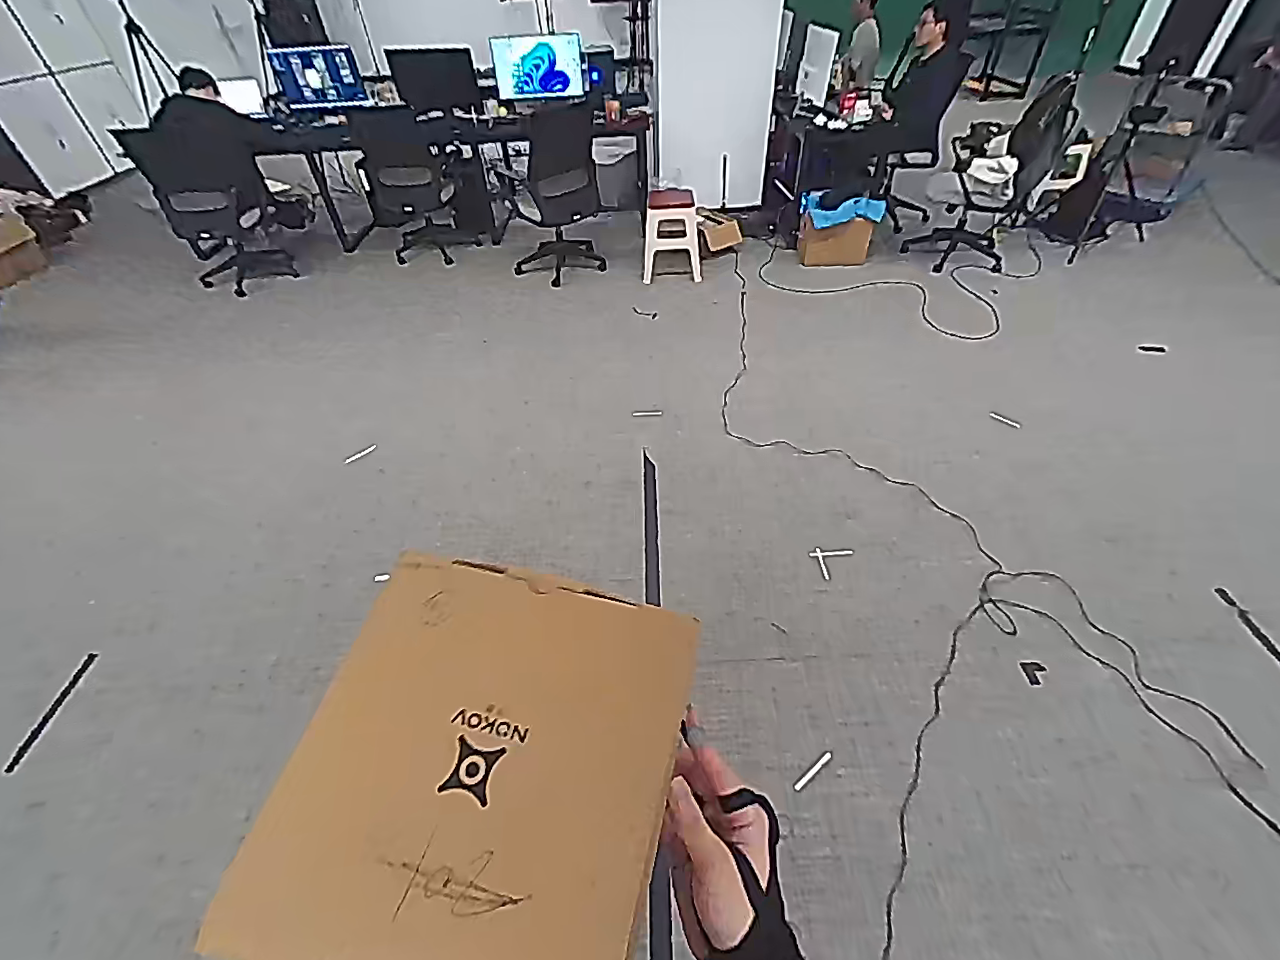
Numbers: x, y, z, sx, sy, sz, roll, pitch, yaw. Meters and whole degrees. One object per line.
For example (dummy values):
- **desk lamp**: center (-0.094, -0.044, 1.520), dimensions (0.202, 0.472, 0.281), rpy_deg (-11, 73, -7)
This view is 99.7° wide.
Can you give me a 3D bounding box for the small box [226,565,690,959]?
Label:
- **small box**: center (-0.067, 0.174, 0.316), dimensions (0.168, 0.176, 0.179), rpy_deg (8, 59, 10)
